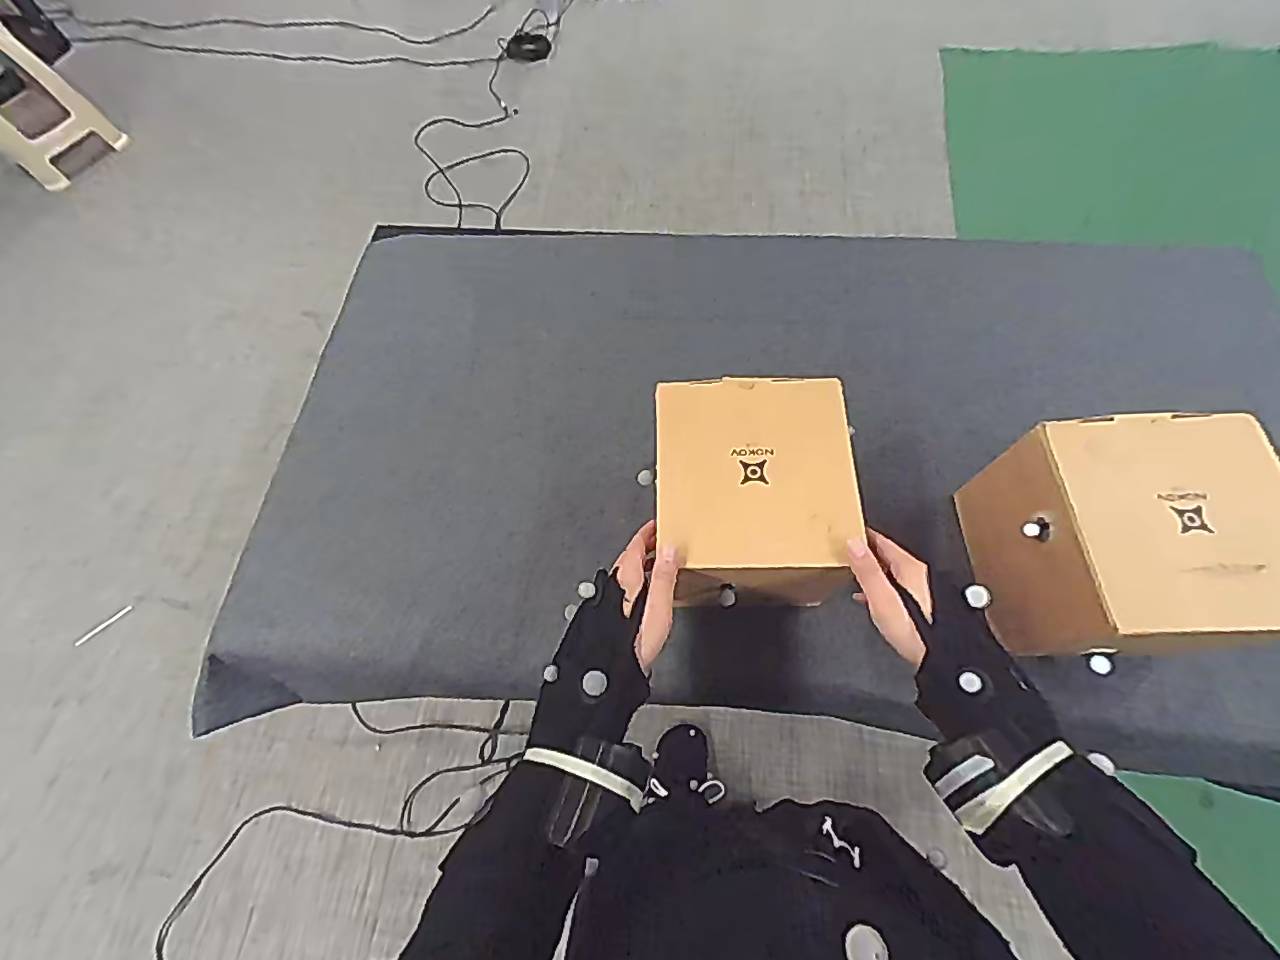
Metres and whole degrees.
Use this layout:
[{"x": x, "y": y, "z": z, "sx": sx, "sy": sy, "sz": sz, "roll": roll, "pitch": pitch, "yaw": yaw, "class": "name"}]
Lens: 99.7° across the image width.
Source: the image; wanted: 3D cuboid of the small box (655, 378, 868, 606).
[{"x": 0.101, "y": 0.022, "z": 0.522, "sx": 0.168, "sy": 0.176, "sz": 0.179, "roll": -1, "pitch": 66, "yaw": 3, "class": "small box"}]

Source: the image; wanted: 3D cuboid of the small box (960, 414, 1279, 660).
[{"x": 0.422, "y": 0.060, "z": 0.485, "sx": 0.168, "sy": 0.176, "sz": 0.179, "roll": -3, "pitch": 66, "yaw": 4, "class": "small box"}]
